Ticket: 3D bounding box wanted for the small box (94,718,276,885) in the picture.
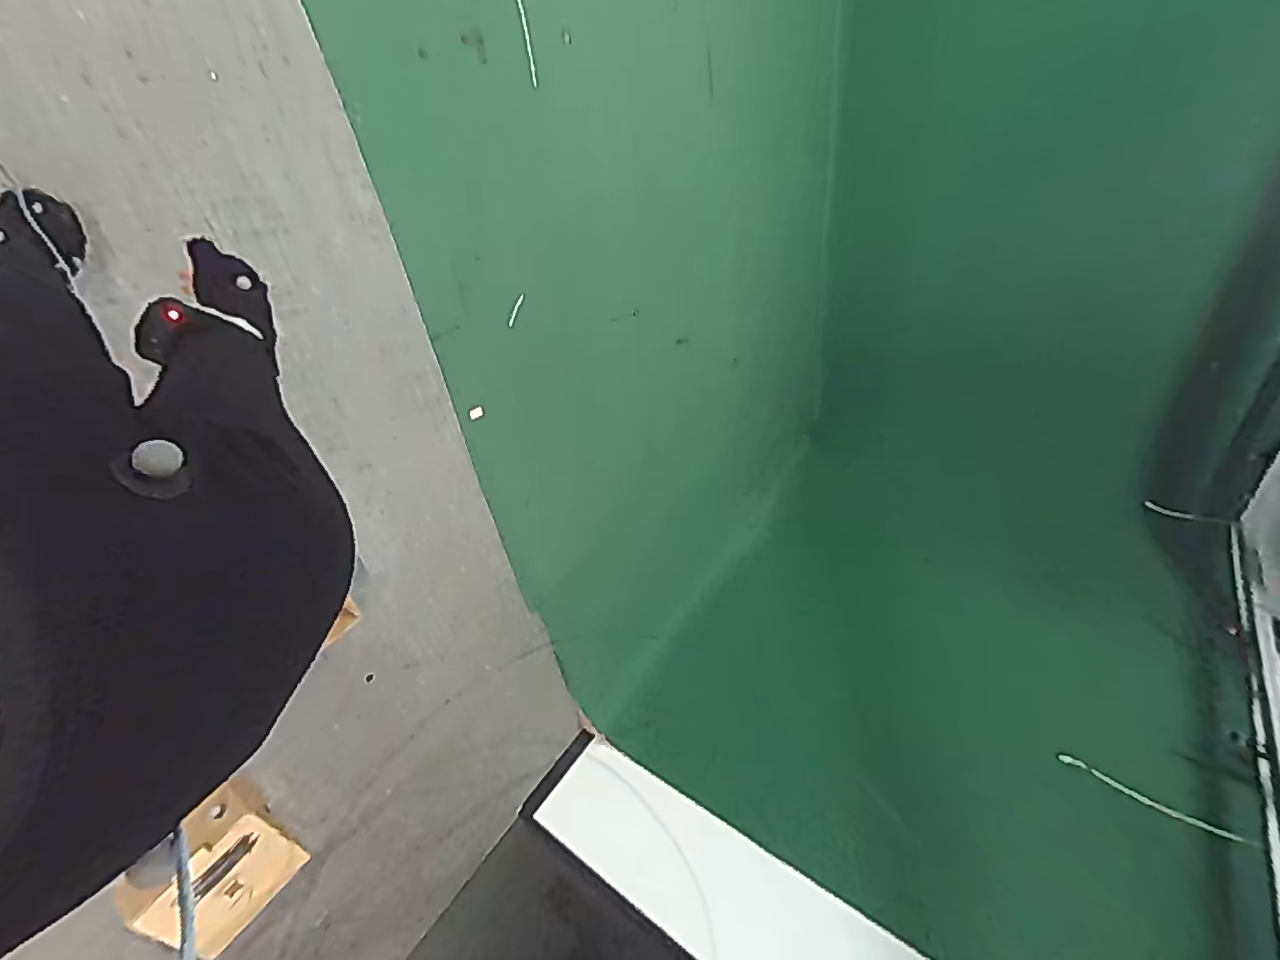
[{"bbox_3d":[-0.809,0.559,0.964,0.168,0.176,0.179,-42,135,-37],"label":"small box"}]
